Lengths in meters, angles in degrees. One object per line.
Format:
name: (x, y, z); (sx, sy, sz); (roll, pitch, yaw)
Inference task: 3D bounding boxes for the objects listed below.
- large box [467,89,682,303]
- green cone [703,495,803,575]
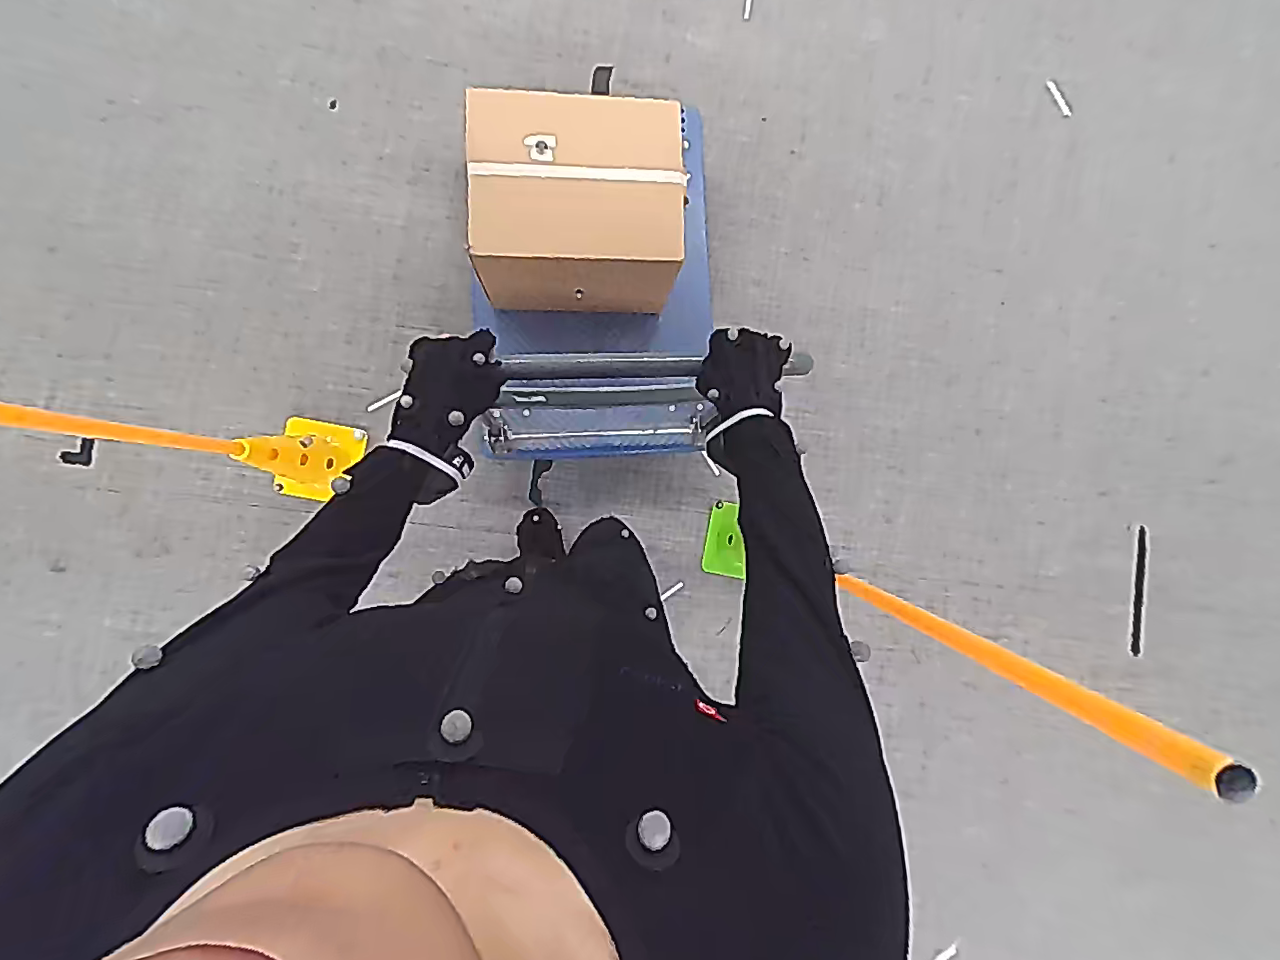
large box: (-0.133, -0.582, 1.171); (0.408, 0.320, 0.320); (-1, 89, -6)
green cone: (0.306, 0.150, 1.346); (0.202, 0.368, 0.200); (12, 87, -7)
